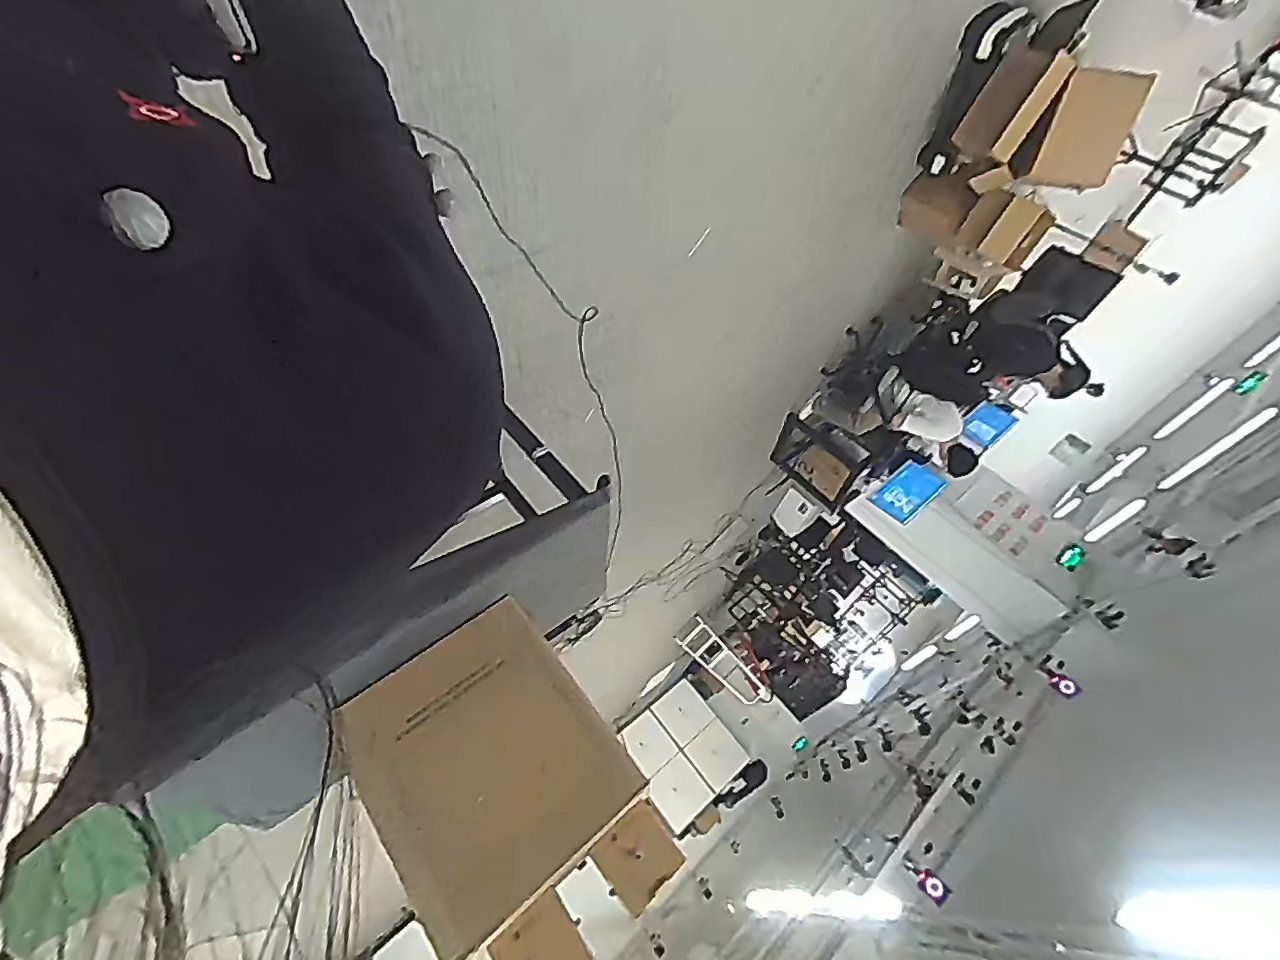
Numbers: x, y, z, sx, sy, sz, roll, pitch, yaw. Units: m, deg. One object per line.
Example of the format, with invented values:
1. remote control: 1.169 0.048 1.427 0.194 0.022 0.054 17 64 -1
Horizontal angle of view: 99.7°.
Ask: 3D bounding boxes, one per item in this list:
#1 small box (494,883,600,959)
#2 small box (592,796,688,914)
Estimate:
1. small box: -0.205 1.034 1.196 0.168 0.176 0.179 -32 151 -25
2. small box: -0.006 0.906 1.315 0.168 0.176 0.179 -34 150 -27
